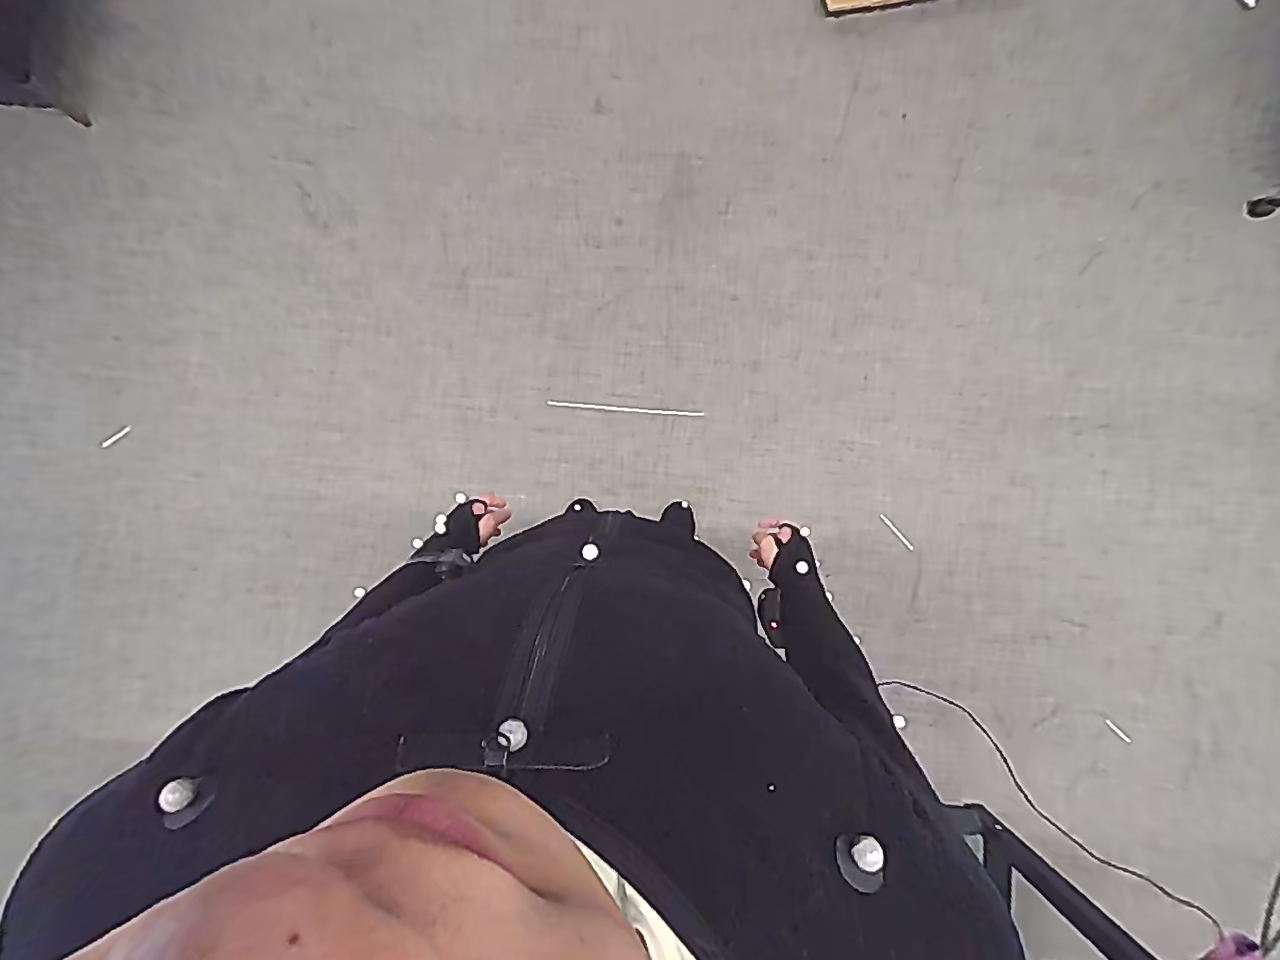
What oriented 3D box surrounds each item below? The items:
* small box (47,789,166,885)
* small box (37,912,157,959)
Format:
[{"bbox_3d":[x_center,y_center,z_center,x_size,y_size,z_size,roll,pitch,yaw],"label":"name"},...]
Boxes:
[{"bbox_3d":[-1.481,0.991,1.513,0.179,0.176,0.168,1,87,0],"label":"small box"},{"bbox_3d":[-1.502,1.340,1.494,0.179,0.176,0.168,4,87,0],"label":"small box"}]
